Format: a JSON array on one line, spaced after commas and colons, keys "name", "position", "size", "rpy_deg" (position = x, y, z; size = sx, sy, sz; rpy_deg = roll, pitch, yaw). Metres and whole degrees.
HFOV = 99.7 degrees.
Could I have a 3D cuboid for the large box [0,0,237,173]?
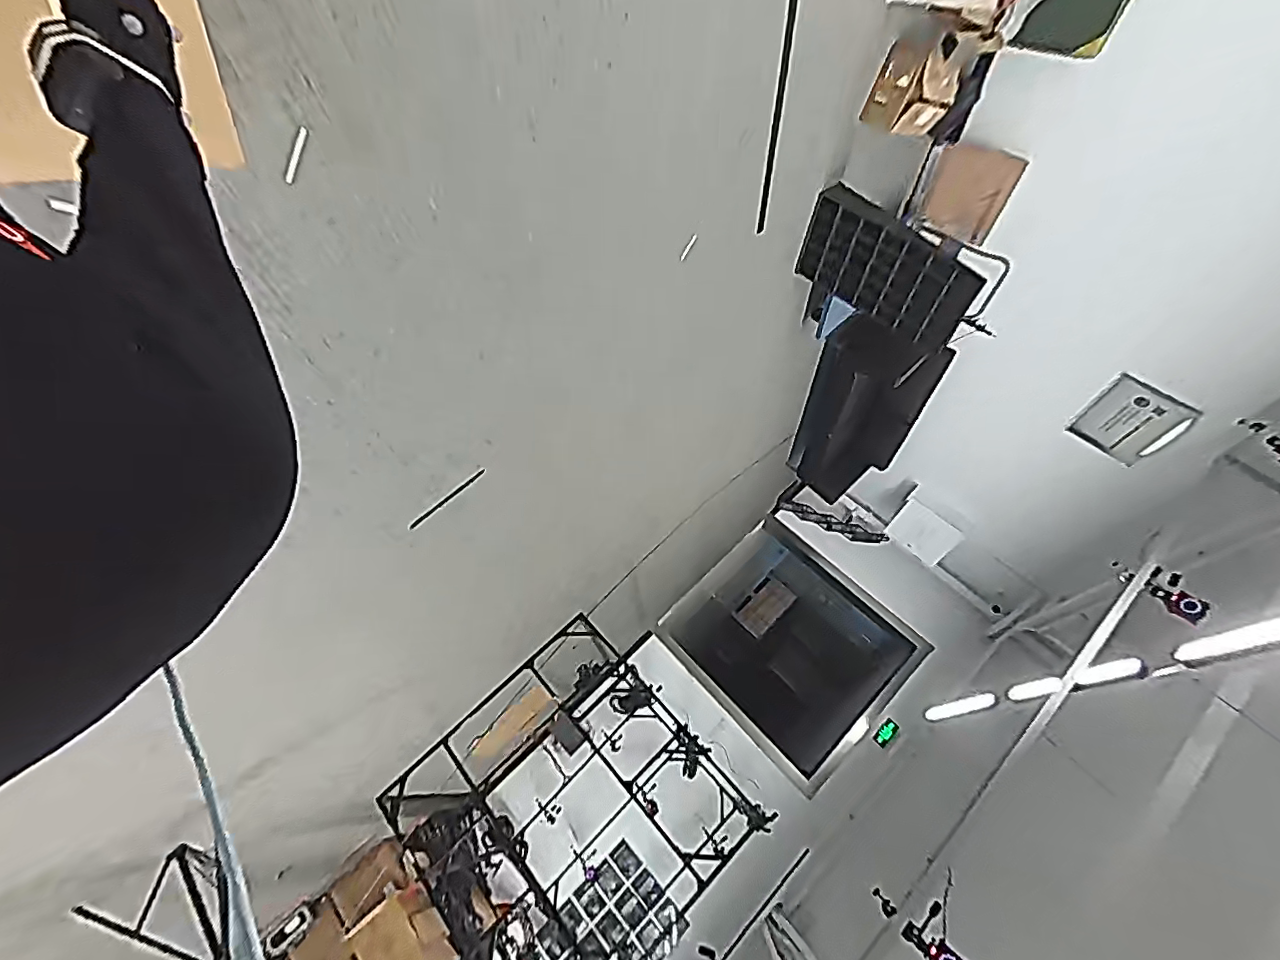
[{"name": "large box", "position": [-0.854, -0.708, 0.749], "size": [0.320, 0.320, 0.408], "rpy_deg": [-31, 151, -35]}]
